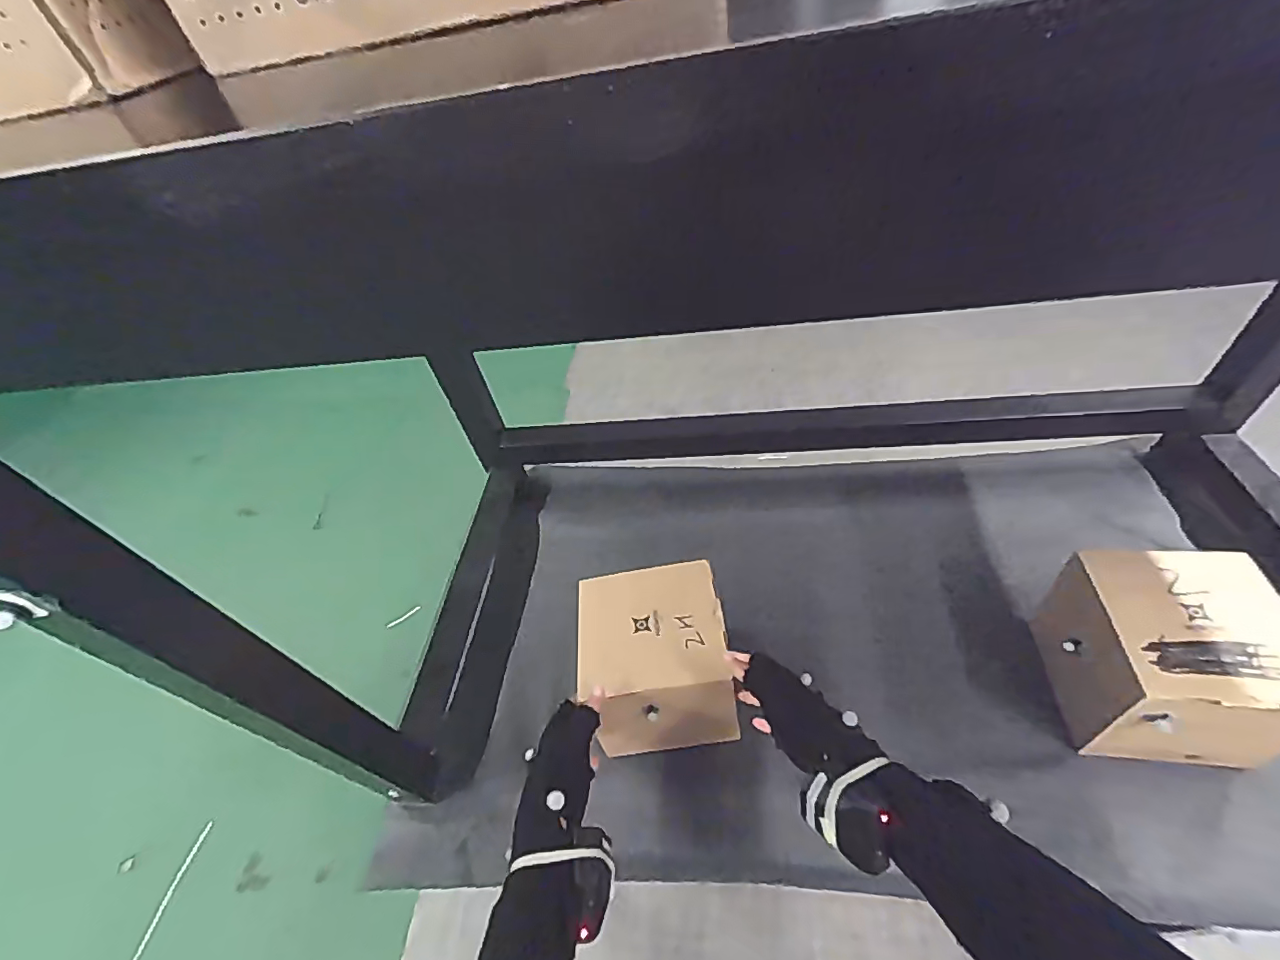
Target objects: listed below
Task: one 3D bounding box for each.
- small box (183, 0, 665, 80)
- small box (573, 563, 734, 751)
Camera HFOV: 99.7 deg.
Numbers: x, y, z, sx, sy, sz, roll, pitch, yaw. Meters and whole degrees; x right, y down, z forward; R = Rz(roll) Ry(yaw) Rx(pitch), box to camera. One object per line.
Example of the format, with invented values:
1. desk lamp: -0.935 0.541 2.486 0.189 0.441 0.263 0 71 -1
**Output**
1. small box: -0.070 -0.246 0.166 0.168 0.176 0.179 -3 47 9
2. small box: 0.020 0.233 0.702 0.179 0.176 0.168 -9 44 4
